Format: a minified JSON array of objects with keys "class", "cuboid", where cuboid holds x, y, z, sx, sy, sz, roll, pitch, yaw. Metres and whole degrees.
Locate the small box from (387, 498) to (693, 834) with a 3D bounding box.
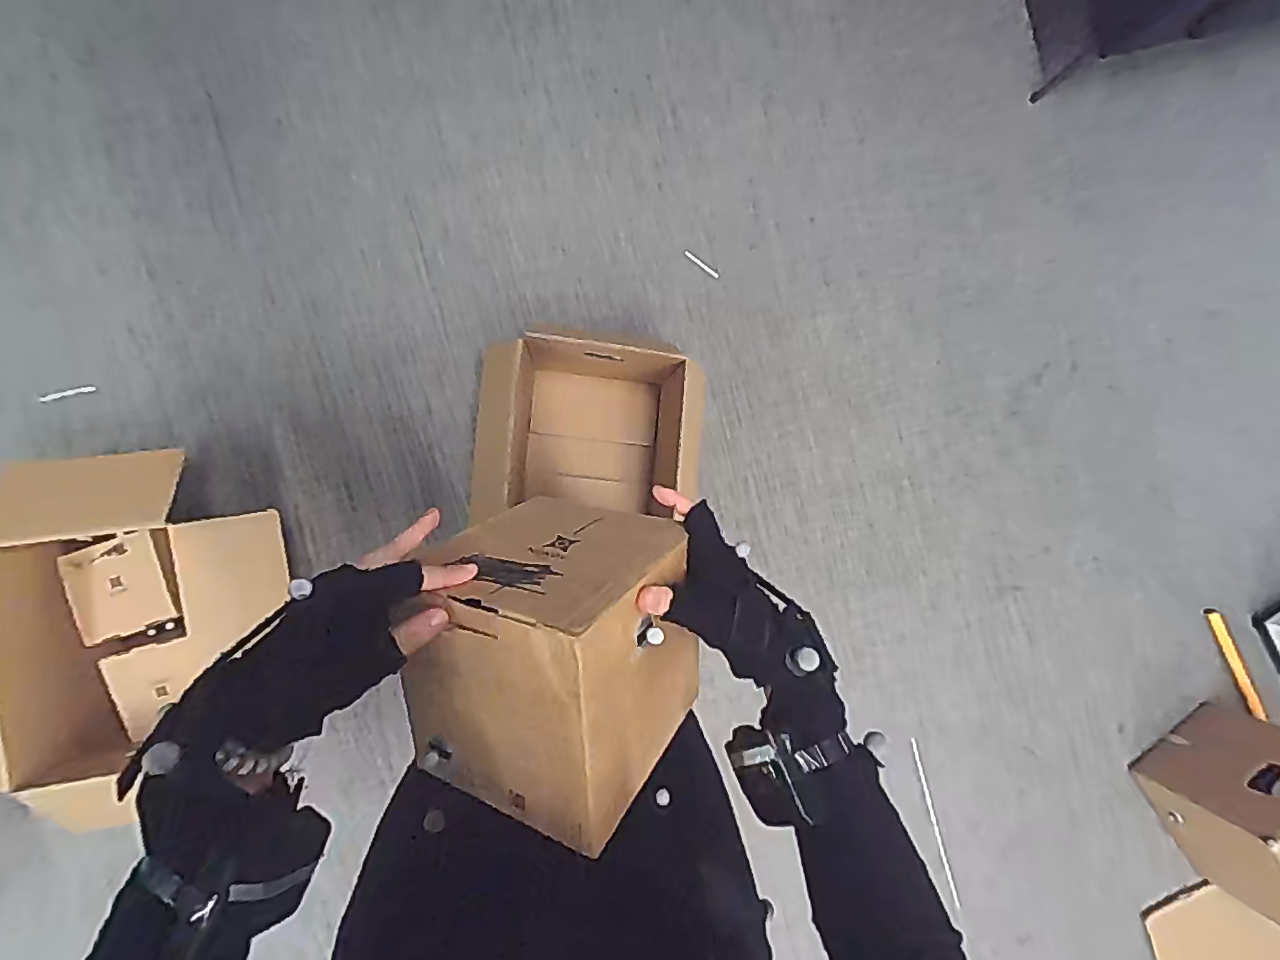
[{"class":"small box","cuboid":[-0.063,0.129,0.432,0.168,0.179,0.176,9,110,27]}]
